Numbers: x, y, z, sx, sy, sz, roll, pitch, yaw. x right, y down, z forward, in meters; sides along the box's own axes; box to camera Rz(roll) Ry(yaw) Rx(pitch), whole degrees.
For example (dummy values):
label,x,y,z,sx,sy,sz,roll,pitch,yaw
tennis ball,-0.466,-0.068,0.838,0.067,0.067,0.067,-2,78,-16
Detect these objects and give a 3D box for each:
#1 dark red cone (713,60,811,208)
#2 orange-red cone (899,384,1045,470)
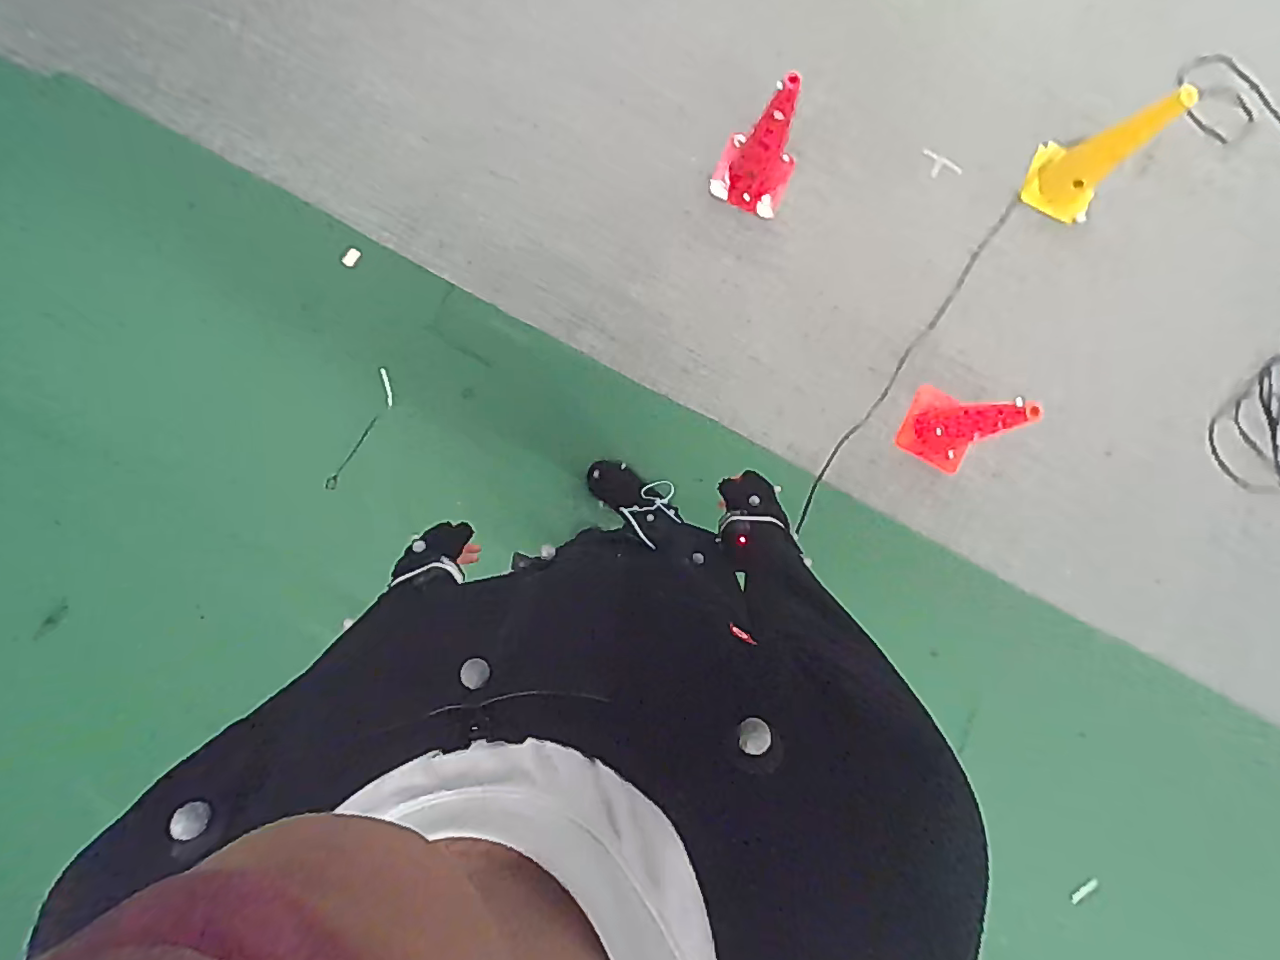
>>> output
label,x,y,z,sx,sy,sz,roll,pitch,yaw
dark red cone,0.330,-0.872,1.335,0.202,0.394,0.201,22,89,-2
orange-red cone,0.863,-0.156,1.366,0.198,0.360,0.199,28,86,-3
